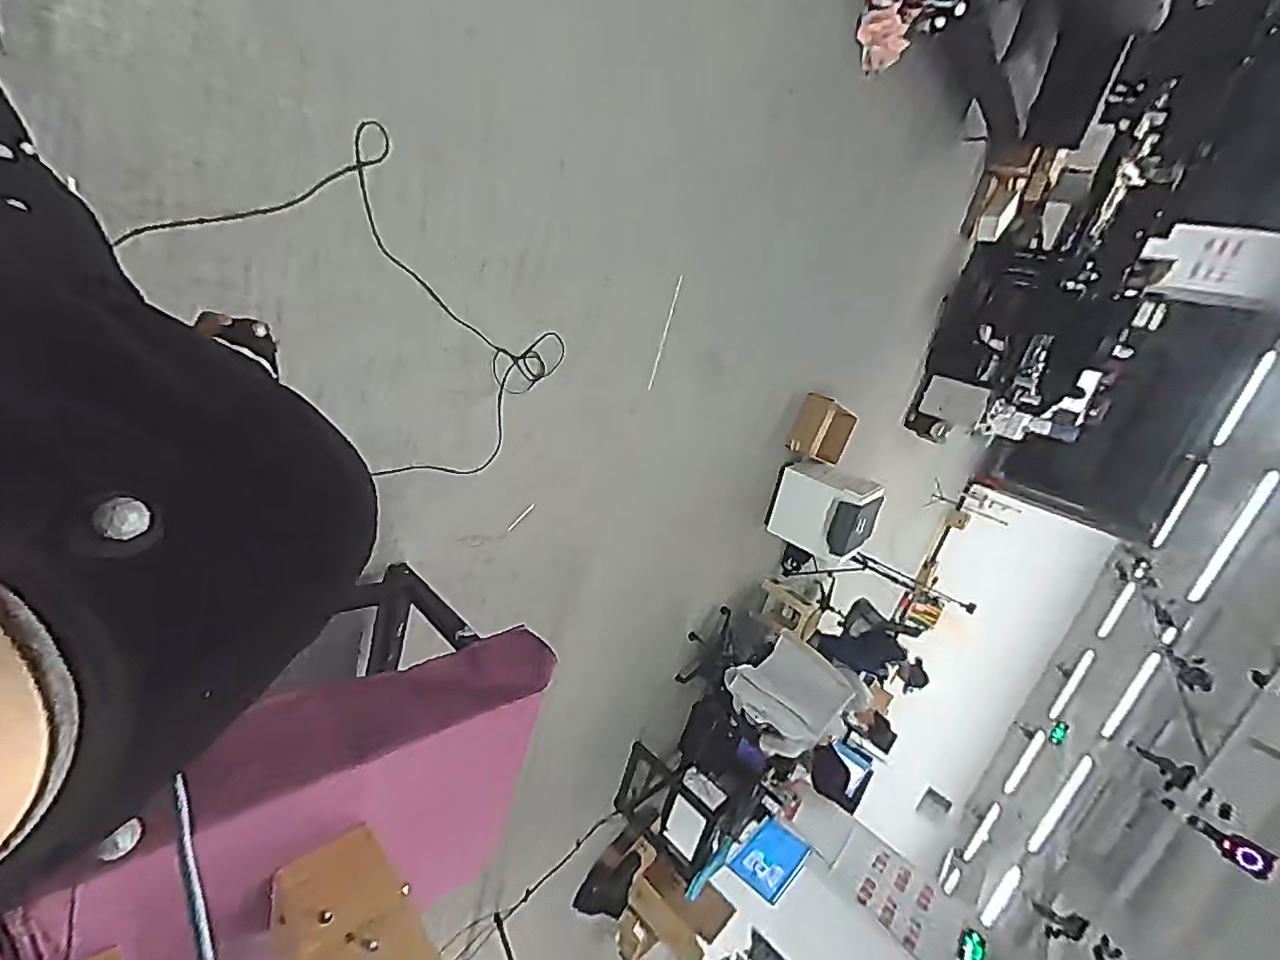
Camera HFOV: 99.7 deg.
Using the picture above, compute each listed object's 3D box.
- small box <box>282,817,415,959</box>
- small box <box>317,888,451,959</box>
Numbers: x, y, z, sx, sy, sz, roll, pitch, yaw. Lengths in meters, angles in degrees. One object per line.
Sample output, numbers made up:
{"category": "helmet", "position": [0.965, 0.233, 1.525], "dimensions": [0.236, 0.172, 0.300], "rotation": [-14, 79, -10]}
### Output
{"category": "small box", "position": [-0.567, 0.808, 1.049], "dimensions": [0.179, 0.176, 0.168], "rotation": [-7, 119, -48]}
{"category": "small box", "position": [-0.455, 0.884, 0.952], "dimensions": [0.168, 0.176, 0.179], "rotation": [-7, 119, -48]}
